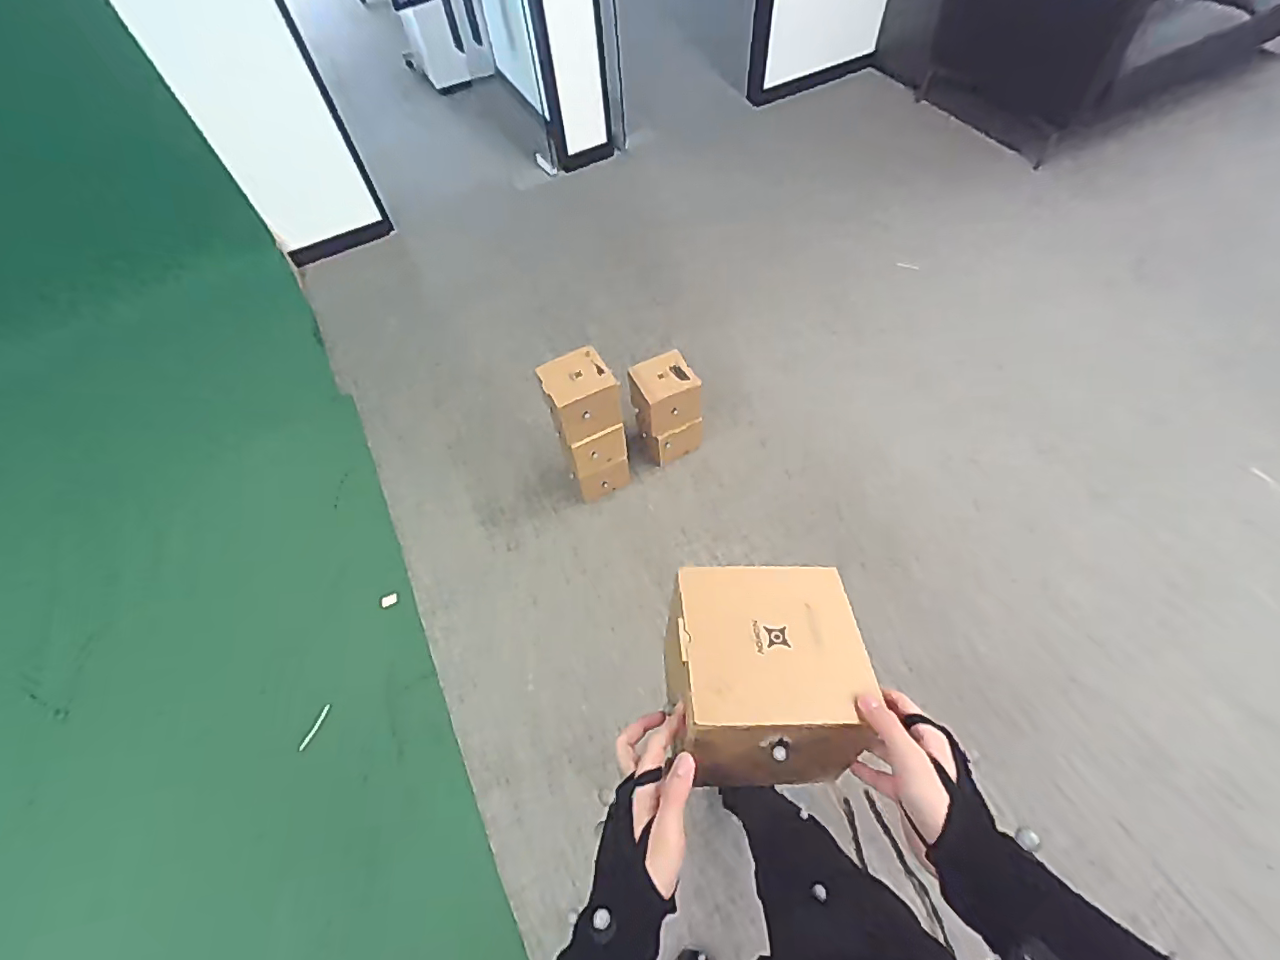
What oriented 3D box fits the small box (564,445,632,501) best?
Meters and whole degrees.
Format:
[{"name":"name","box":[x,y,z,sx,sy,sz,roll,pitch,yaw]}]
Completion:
[{"name":"small box","box":[-0.134,-0.051,1.784,0.168,0.176,0.179,-24,60,-11]}]

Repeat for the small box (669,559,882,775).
[{"name":"small box","box":[0.123,0.202,0.581,0.179,0.176,0.168,1,44,-3]}]

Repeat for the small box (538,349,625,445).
[{"name":"small box","box":[-0.158,-0.227,1.511,0.179,0.176,0.168,-26,60,-10]}]

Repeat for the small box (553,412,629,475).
[{"name":"small box","box":[-0.144,-0.136,1.647,0.168,0.176,0.179,-27,60,-11]}]

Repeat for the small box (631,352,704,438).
[{"name":"small box","box":[0.087,-0.264,1.705,0.179,0.176,0.168,-24,59,-9]}]
